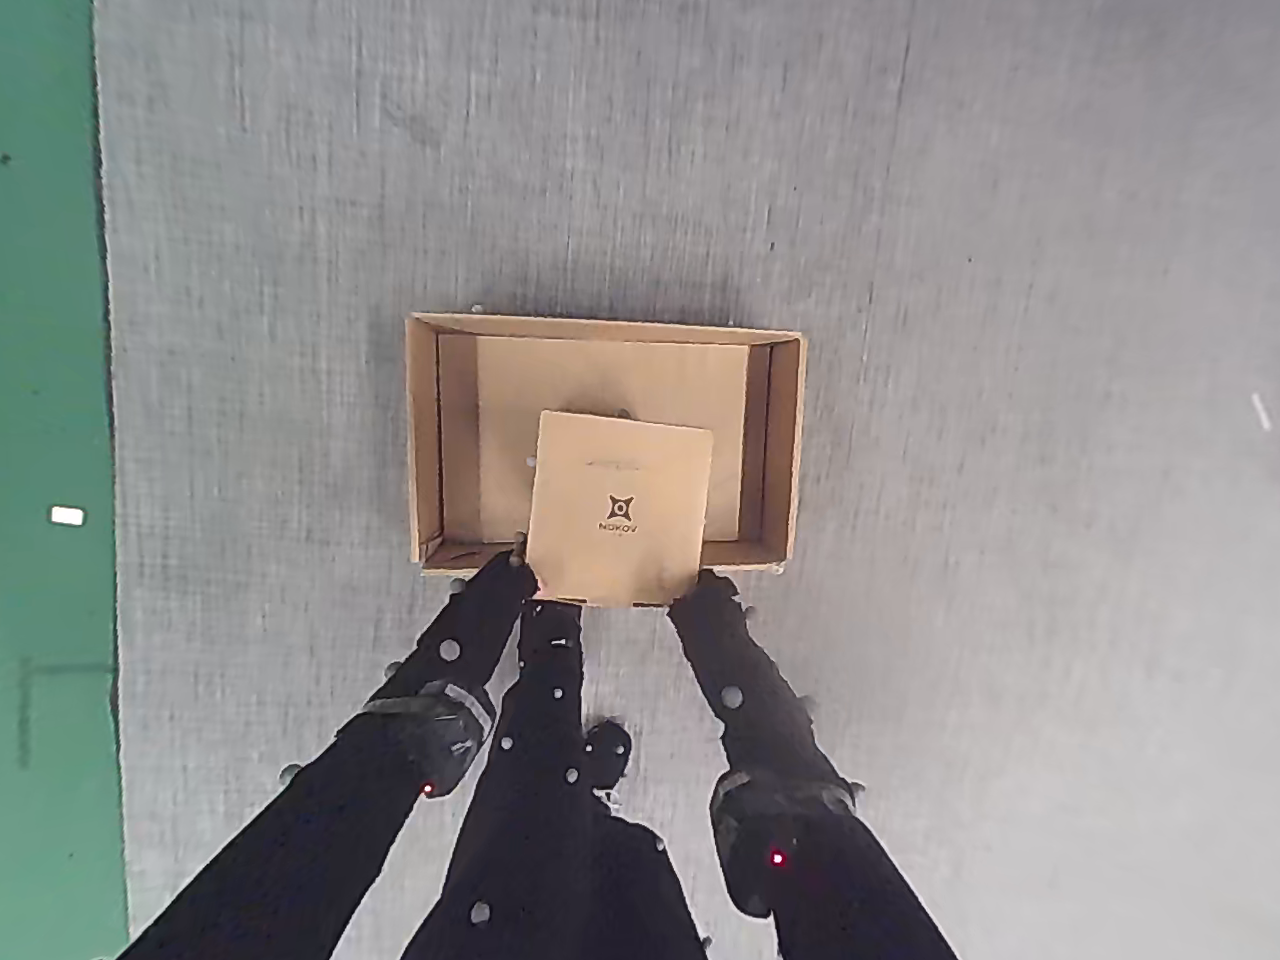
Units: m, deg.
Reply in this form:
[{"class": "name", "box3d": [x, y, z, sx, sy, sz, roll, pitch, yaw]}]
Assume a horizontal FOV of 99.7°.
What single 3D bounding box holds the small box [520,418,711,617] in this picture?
[{"class": "small box", "box3d": [-0.032, 0.033, 0.584, 0.168, 0.176, 0.179, 6, 92, -9]}]
